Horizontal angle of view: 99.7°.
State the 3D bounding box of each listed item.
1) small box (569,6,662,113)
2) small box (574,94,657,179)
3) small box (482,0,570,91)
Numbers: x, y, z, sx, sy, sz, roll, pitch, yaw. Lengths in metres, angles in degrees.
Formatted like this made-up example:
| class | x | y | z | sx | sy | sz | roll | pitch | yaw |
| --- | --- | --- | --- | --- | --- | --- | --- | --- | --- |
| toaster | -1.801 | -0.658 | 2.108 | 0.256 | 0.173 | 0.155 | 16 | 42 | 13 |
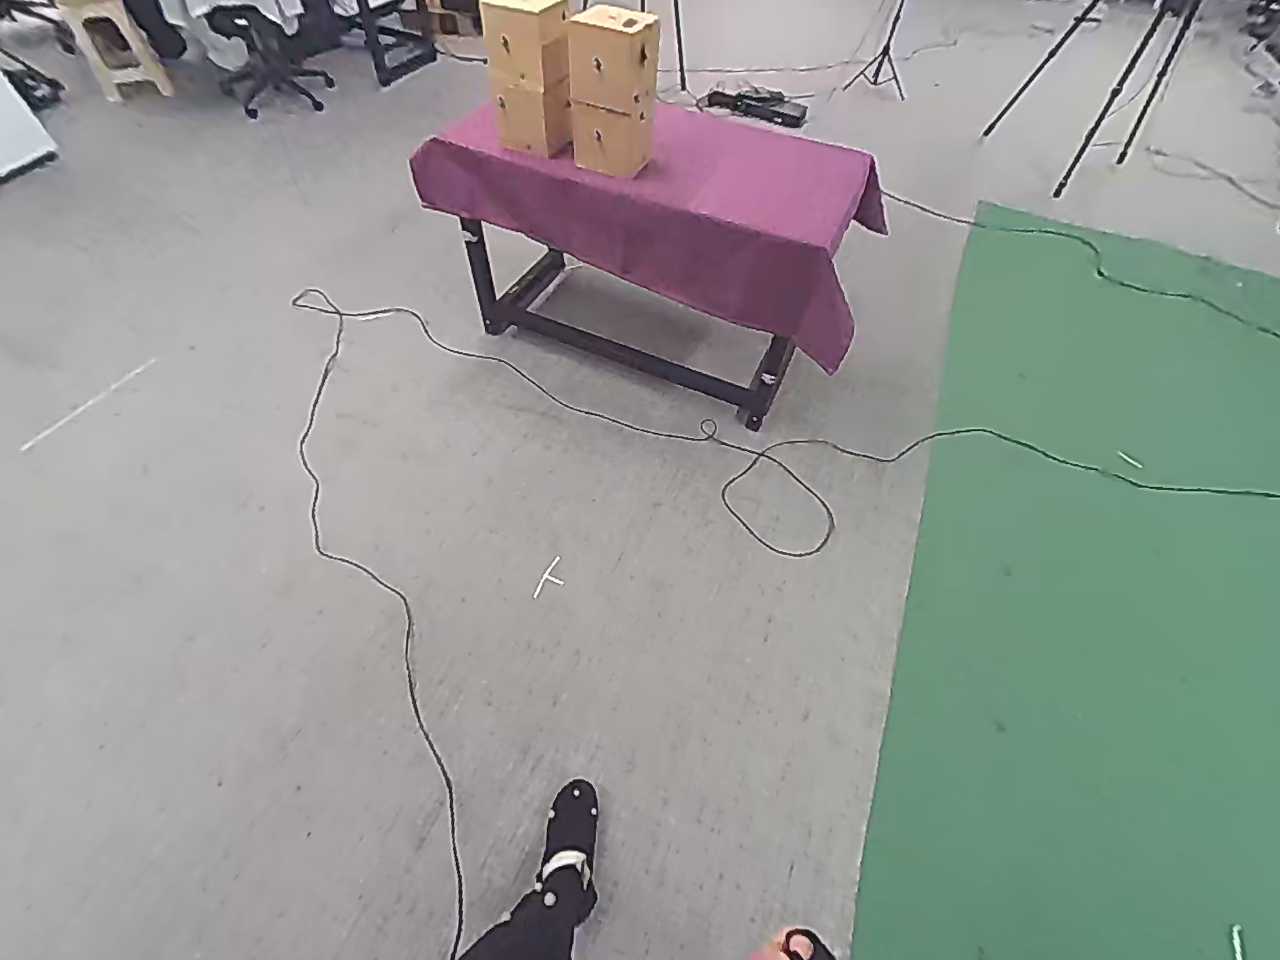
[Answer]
| class | x | y | z | sx | sy | sz | roll | pitch | yaw |
| --- | --- | --- | --- | --- | --- | --- | --- | --- | --- |
| small box | -0.061 | -1.064 | 1.374 | 0.179 | 0.176 | 0.168 | 22 | 55 | 13 |
| small box | -0.066 | -0.971 | 1.509 | 0.179 | 0.176 | 0.168 | 21 | 56 | 12 |
| small box | -0.292 | -1.165 | 1.437 | 0.168 | 0.176 | 0.179 | 19 | 54 | 10 |
